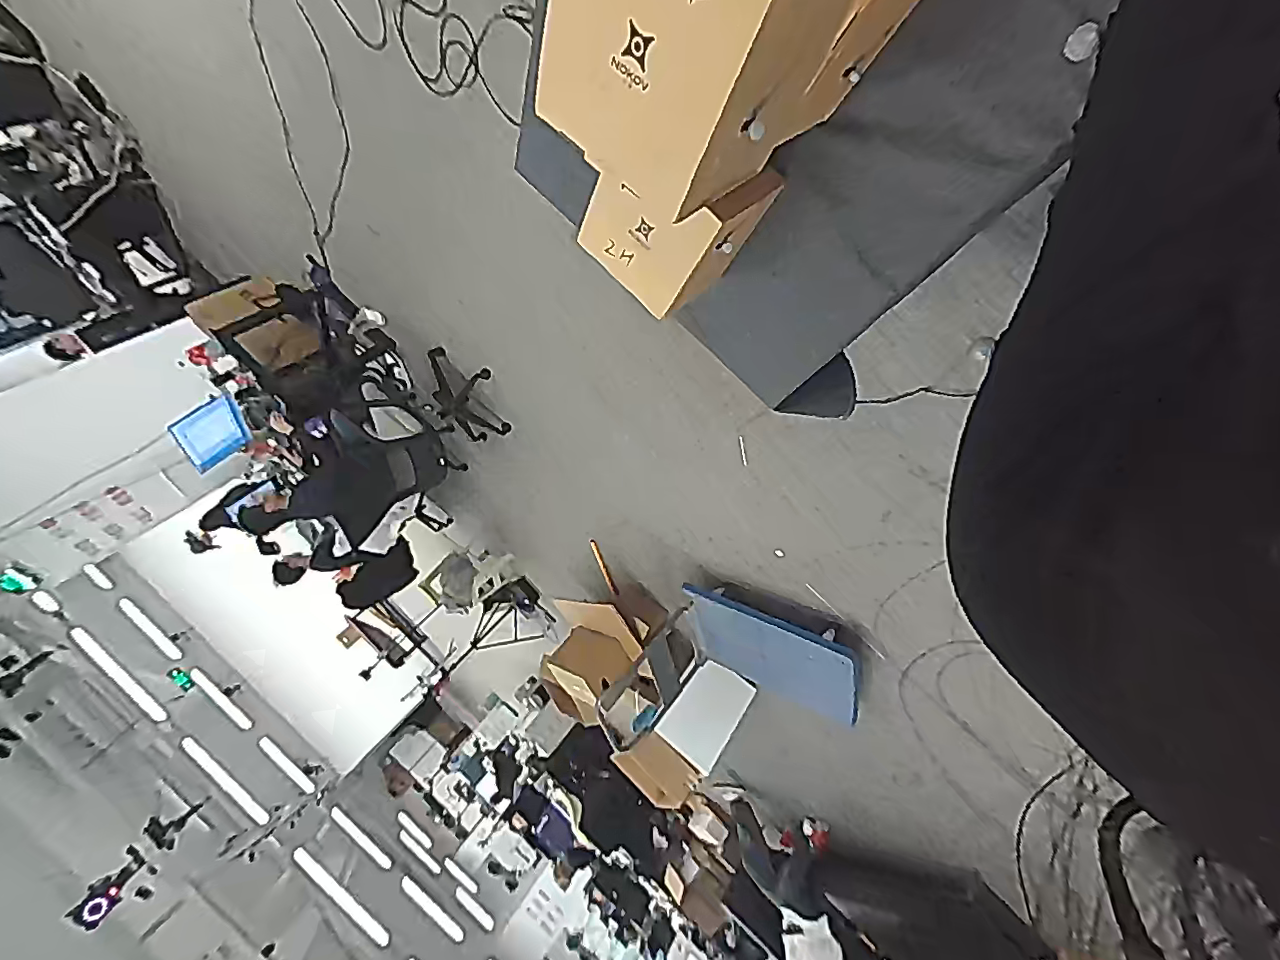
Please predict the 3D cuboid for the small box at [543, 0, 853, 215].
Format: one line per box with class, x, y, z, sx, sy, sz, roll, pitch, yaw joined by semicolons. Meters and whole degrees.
small box;0.048;-0.365;0.440;0.168;0.176;0.179;41;148;4
